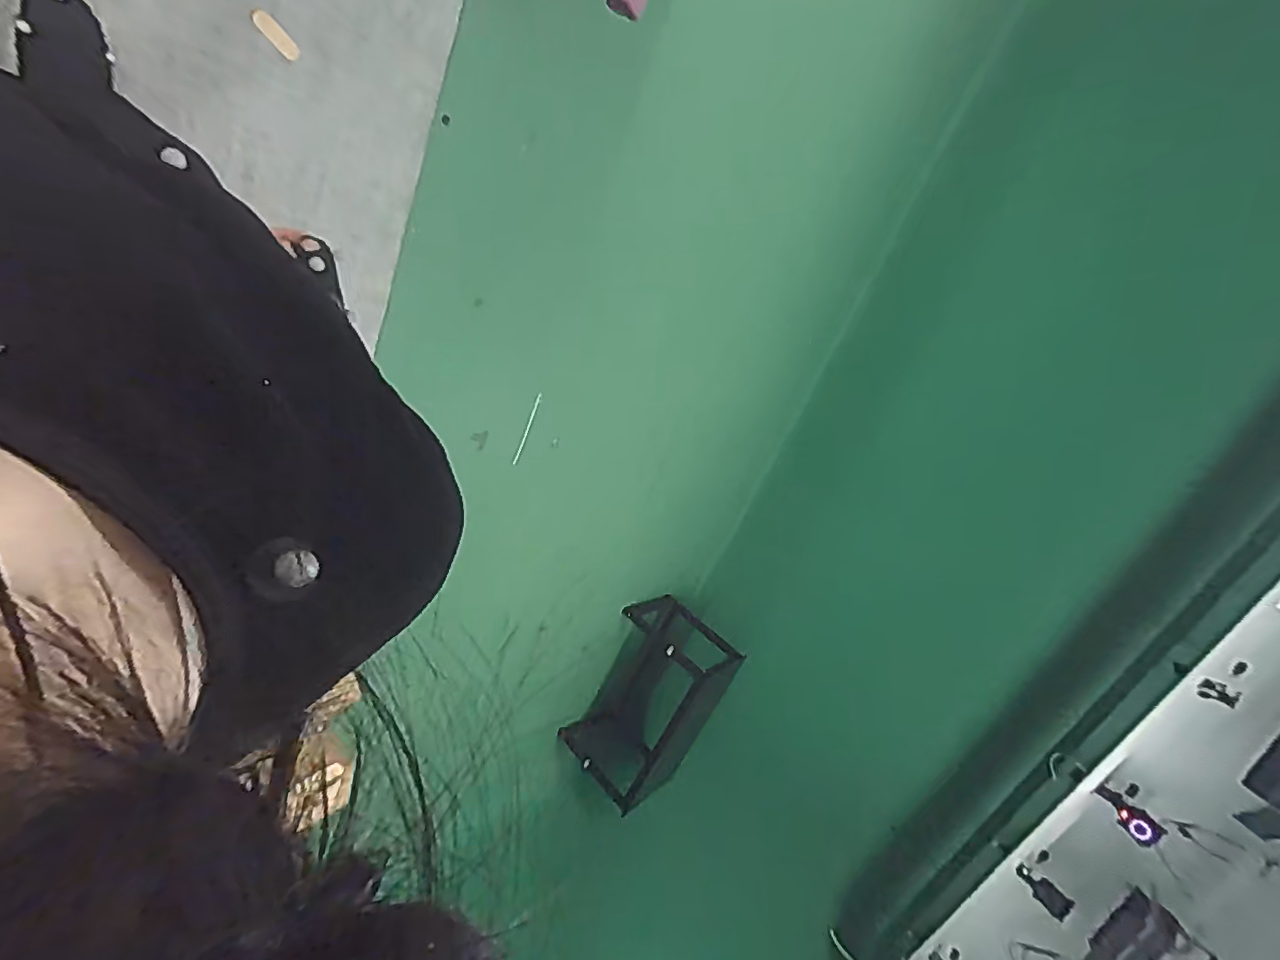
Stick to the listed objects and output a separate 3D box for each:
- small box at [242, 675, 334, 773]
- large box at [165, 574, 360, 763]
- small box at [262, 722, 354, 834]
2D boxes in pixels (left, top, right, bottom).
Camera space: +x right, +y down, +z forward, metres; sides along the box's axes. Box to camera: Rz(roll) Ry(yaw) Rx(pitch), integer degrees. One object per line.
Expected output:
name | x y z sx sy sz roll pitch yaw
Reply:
small box | -0.994 0.691 1.530 0.179 0.176 0.168 -15 131 -46
large box | -1.146 0.559 1.673 0.408 0.320 0.320 -20 137 -45
small box | -0.888 0.778 1.441 0.168 0.176 0.179 -14 130 -48
